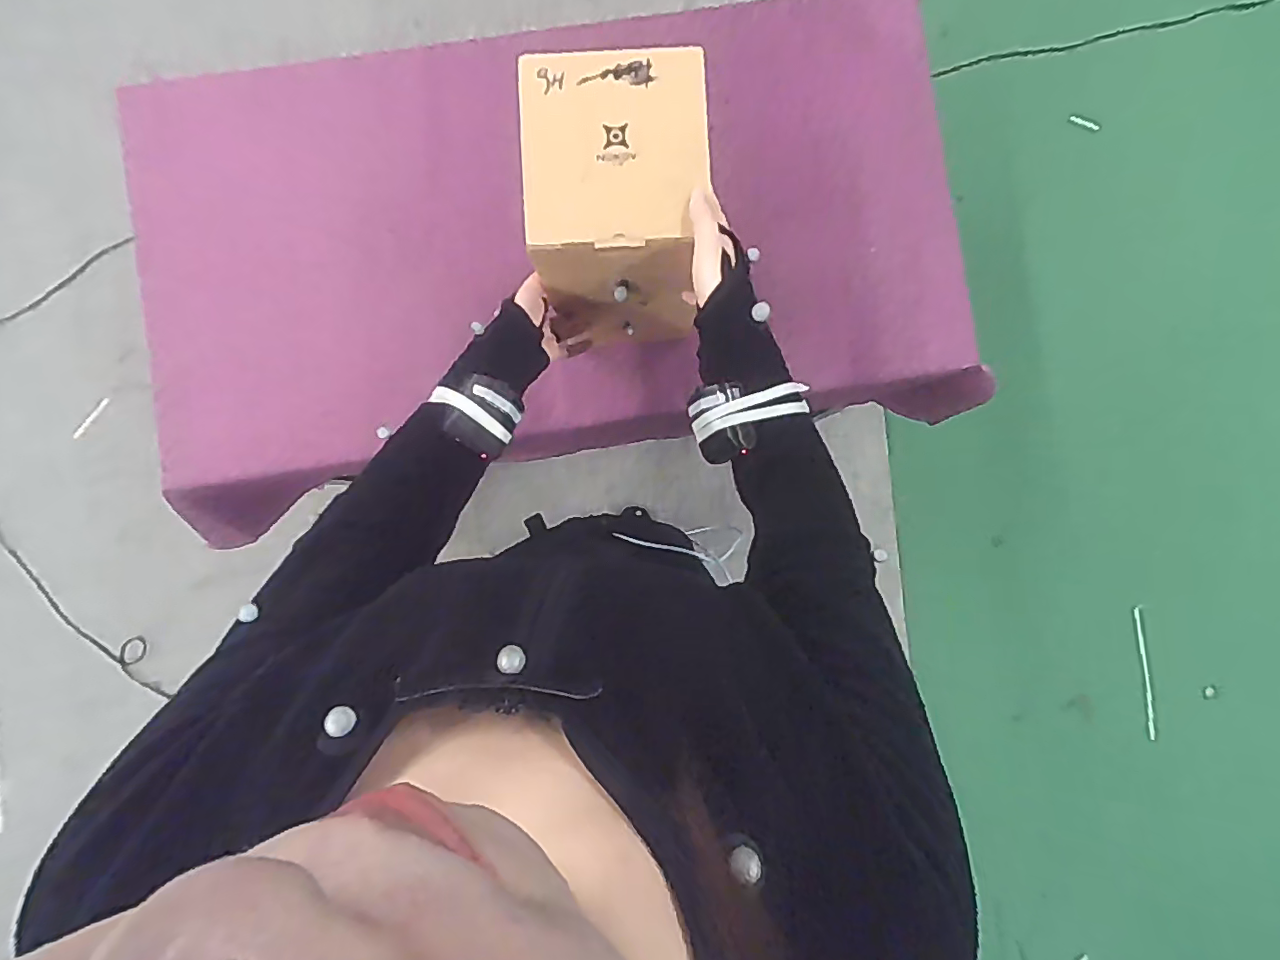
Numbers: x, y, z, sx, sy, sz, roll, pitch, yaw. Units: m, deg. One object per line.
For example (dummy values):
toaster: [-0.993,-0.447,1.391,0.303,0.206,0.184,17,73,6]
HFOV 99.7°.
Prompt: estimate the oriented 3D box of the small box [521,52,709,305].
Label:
small box: [-0.022,-0.288,0.556,0.168,0.176,0.179,-2,89,-1]
